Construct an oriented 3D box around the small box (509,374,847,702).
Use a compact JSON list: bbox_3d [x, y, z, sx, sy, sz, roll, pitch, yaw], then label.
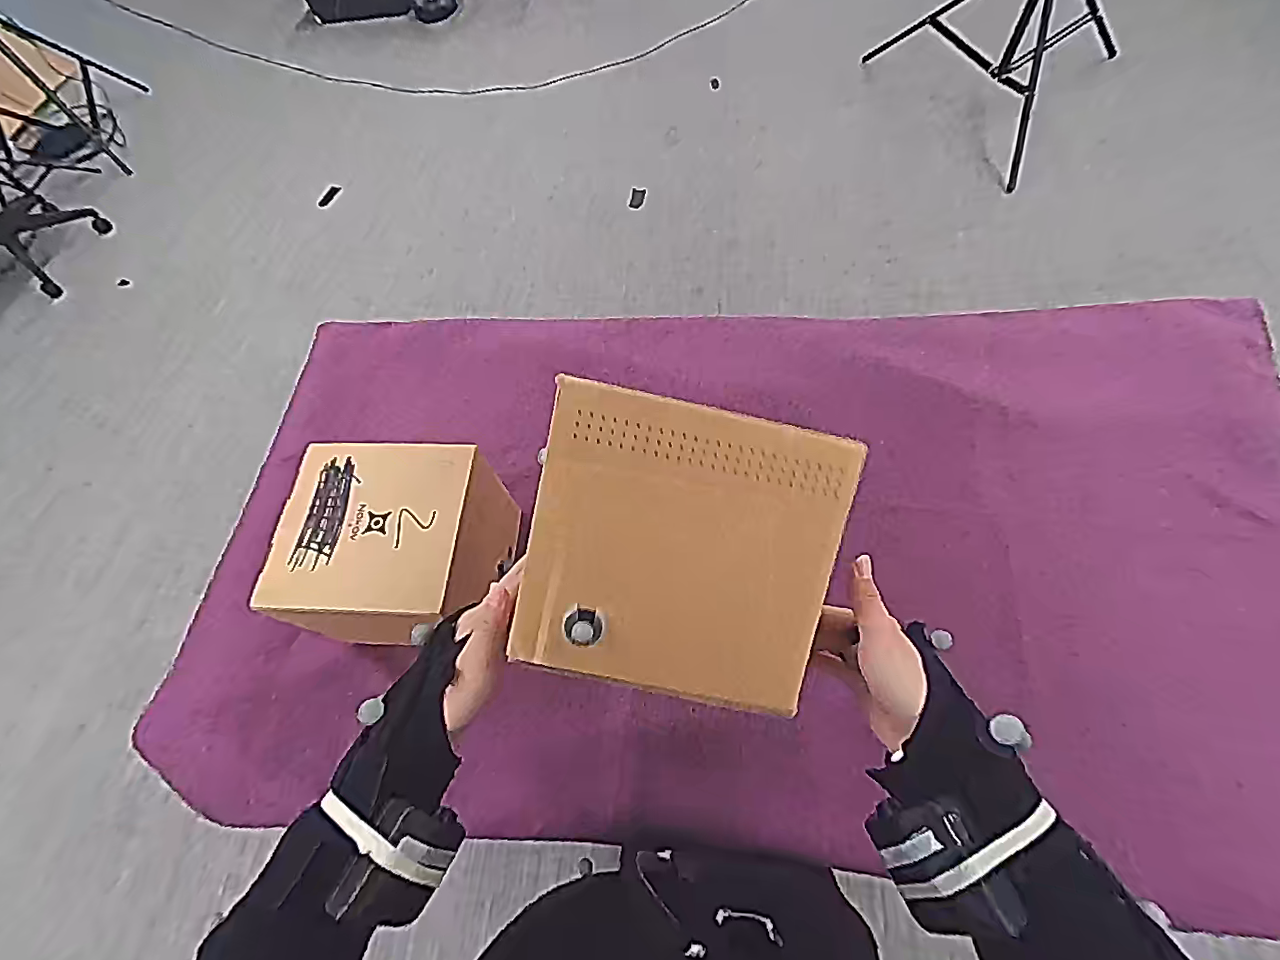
[{"bbox_3d":[0.020,0.026,0.382,0.179,0.168,0.176,11,95,-4],"label":"small box"}]
